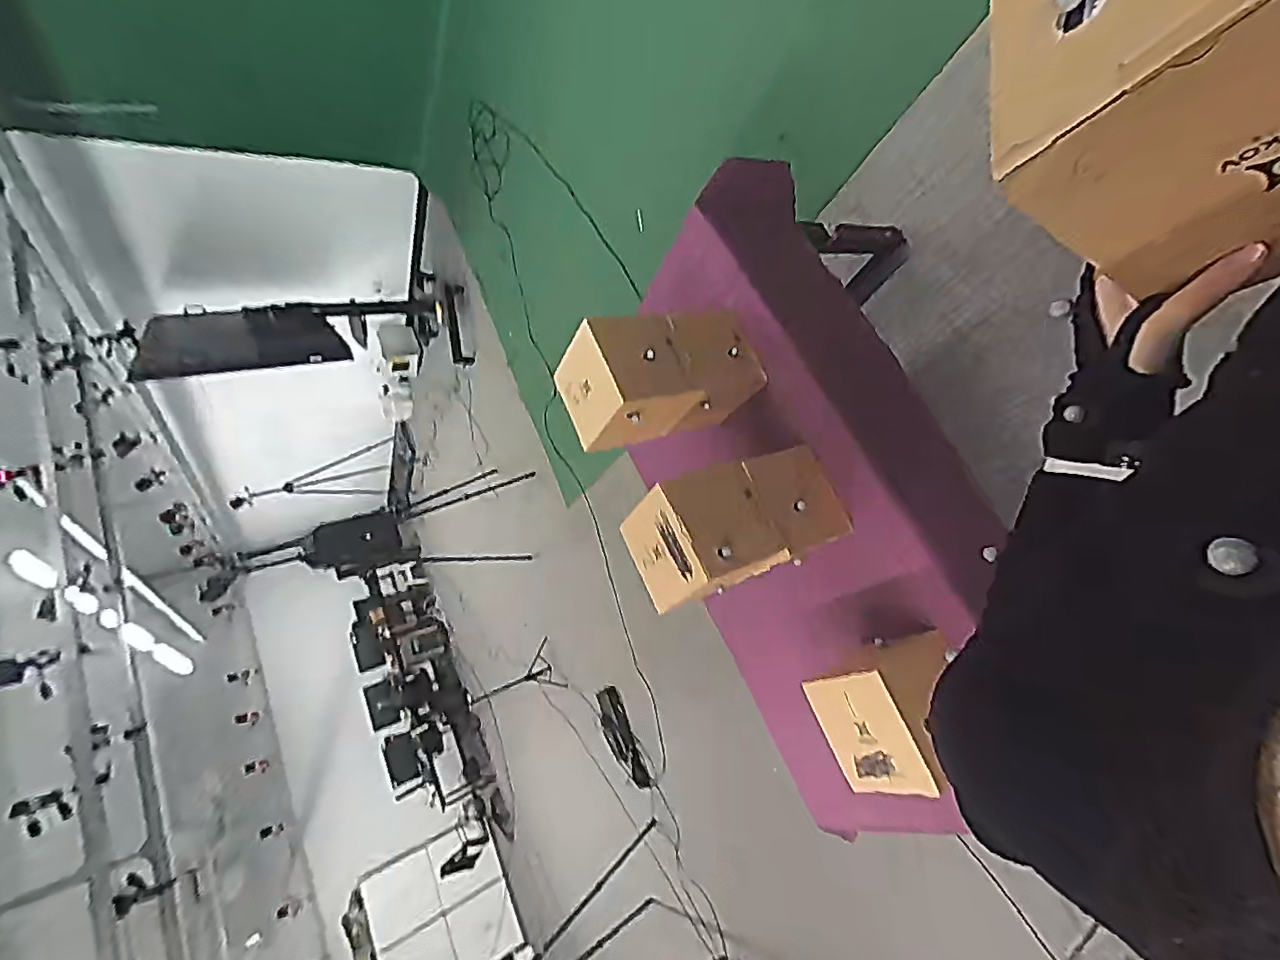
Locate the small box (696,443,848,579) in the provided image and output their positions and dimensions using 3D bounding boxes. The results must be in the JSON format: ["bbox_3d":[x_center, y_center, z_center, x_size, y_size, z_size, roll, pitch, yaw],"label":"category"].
[{"bbox_3d":[0.239,0.055,0.980,0.168,0.176,0.179,-44,66,53],"label":"small box"}]

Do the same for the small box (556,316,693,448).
[{"bbox_3d":[-0.025,-0.180,0.980,0.179,0.176,0.168,-44,65,53],"label":"small box"}]

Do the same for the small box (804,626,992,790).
[{"bbox_3d":[0.404,0.354,0.850,0.168,0.176,0.179,-45,64,53],"label":"small box"}]

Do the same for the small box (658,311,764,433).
[{"bbox_3d":[0.109,-0.214,1.070,0.179,0.176,0.168,-42,68,53],"label":"small box"}]

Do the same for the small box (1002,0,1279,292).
[{"bbox_3d":[0.318,-0.241,0.279,0.168,0.179,0.176,-22,52,61],"label":"small box"}]
